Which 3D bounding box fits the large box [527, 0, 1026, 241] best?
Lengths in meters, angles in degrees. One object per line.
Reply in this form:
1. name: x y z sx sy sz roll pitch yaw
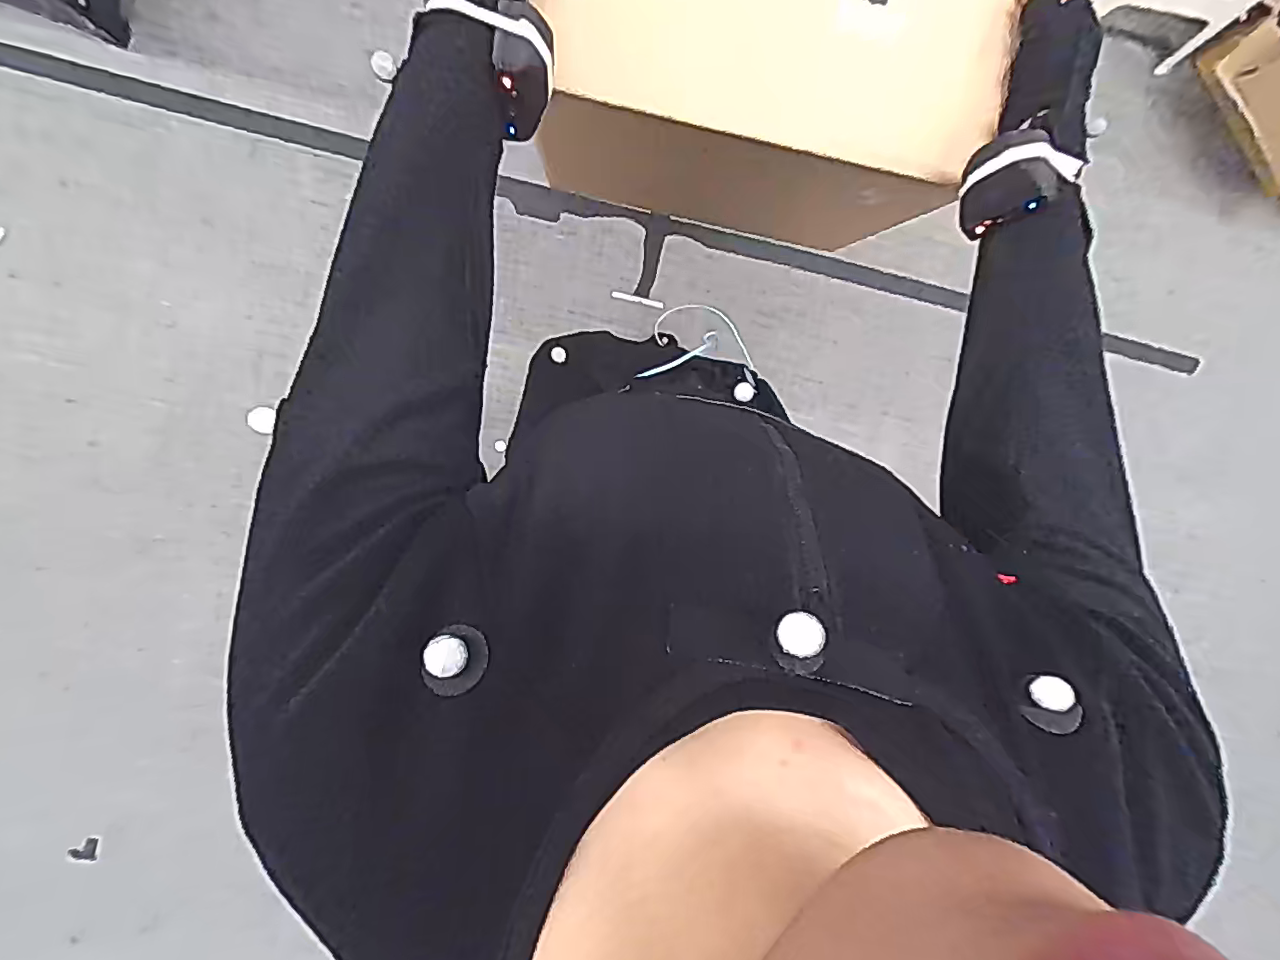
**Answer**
1. large box: 0.115 -0.476 0.567 0.408 0.320 0.320 10 104 -7
